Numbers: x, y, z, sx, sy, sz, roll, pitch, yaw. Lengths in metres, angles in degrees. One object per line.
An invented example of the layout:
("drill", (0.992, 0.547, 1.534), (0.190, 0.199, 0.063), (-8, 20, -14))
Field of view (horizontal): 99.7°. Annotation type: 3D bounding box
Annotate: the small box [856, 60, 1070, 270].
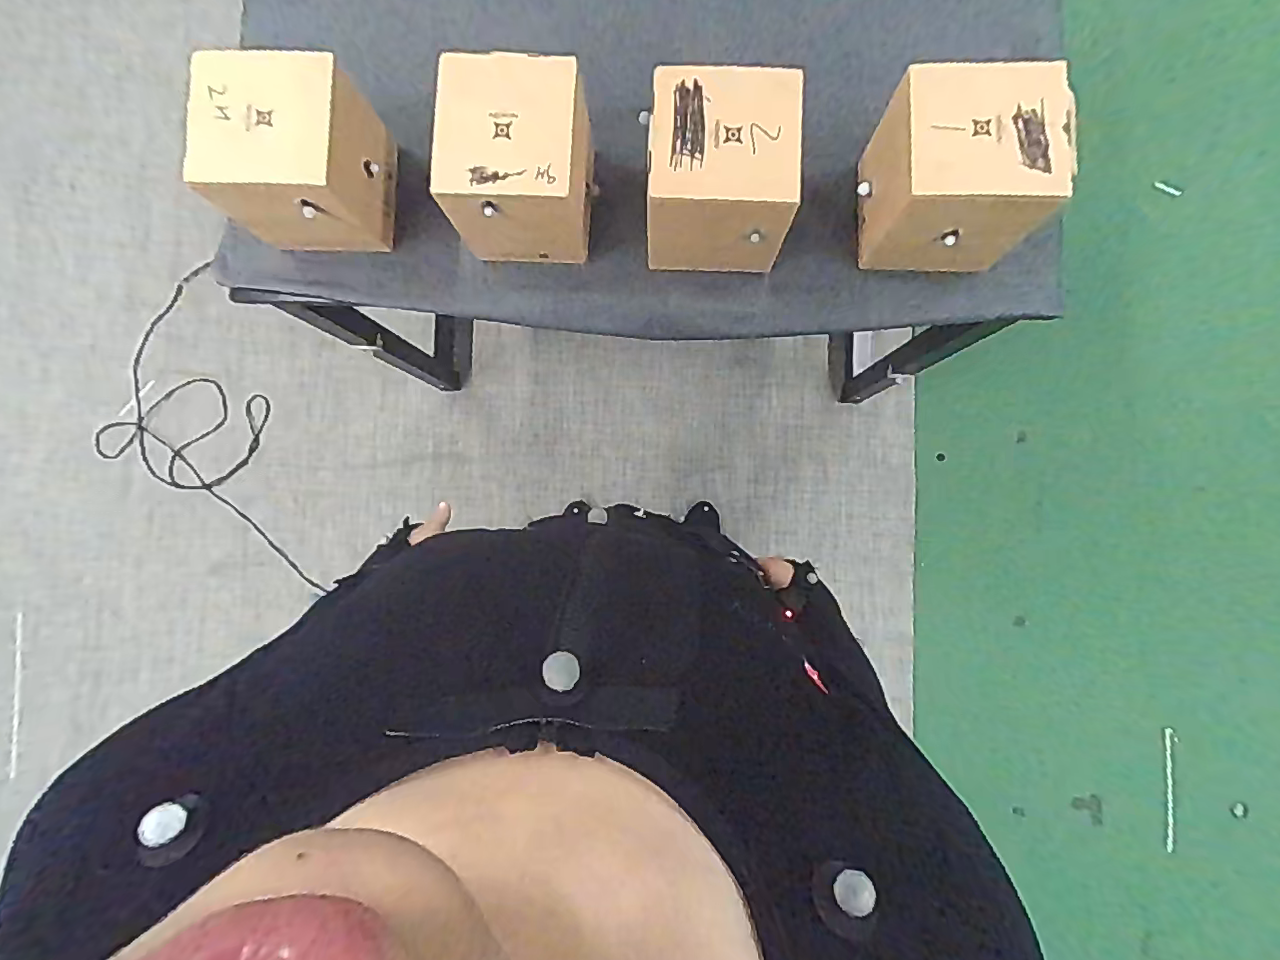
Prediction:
("small box", (0.391, -0.381, 0.680), (0.179, 0.176, 0.168), (3, 84, 4))
